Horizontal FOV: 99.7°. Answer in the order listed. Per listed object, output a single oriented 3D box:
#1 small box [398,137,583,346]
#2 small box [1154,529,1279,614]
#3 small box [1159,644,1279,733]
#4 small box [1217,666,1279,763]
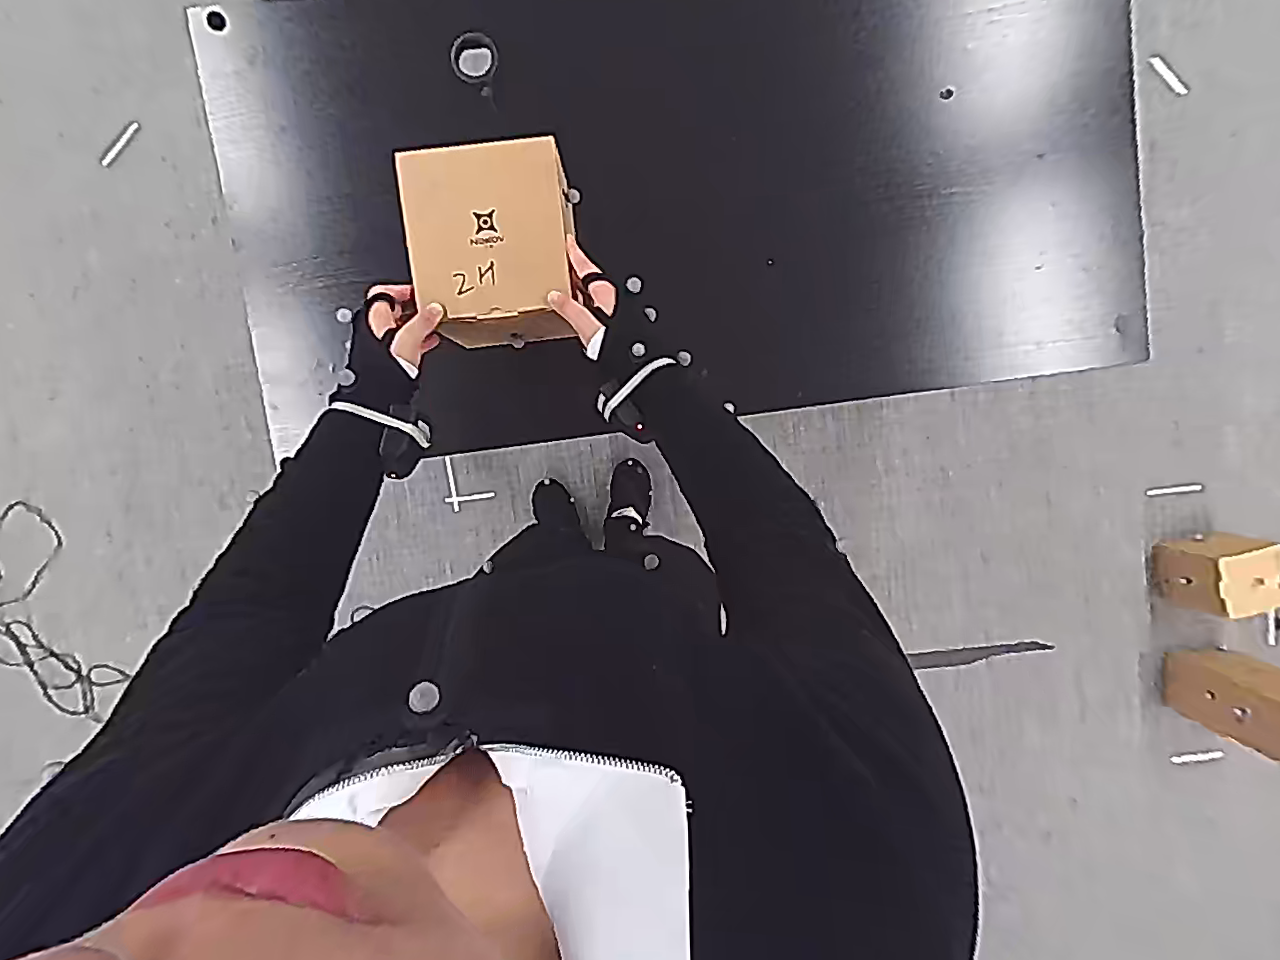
[{"bbox_3d":[-0.162,-0.267,0.643,0.168,0.176,0.179,-6,95,0],"label":"small box"},{"bbox_3d":[1.540,0.240,1.453,0.179,0.176,0.168,-13,95,1],"label":"small box"},{"bbox_3d":[1.588,0.564,1.487,0.168,0.176,0.179,-4,97,0],"label":"small box"},{"bbox_3d":[1.591,0.575,1.326,0.179,0.176,0.168,-9,94,1],"label":"small box"}]
